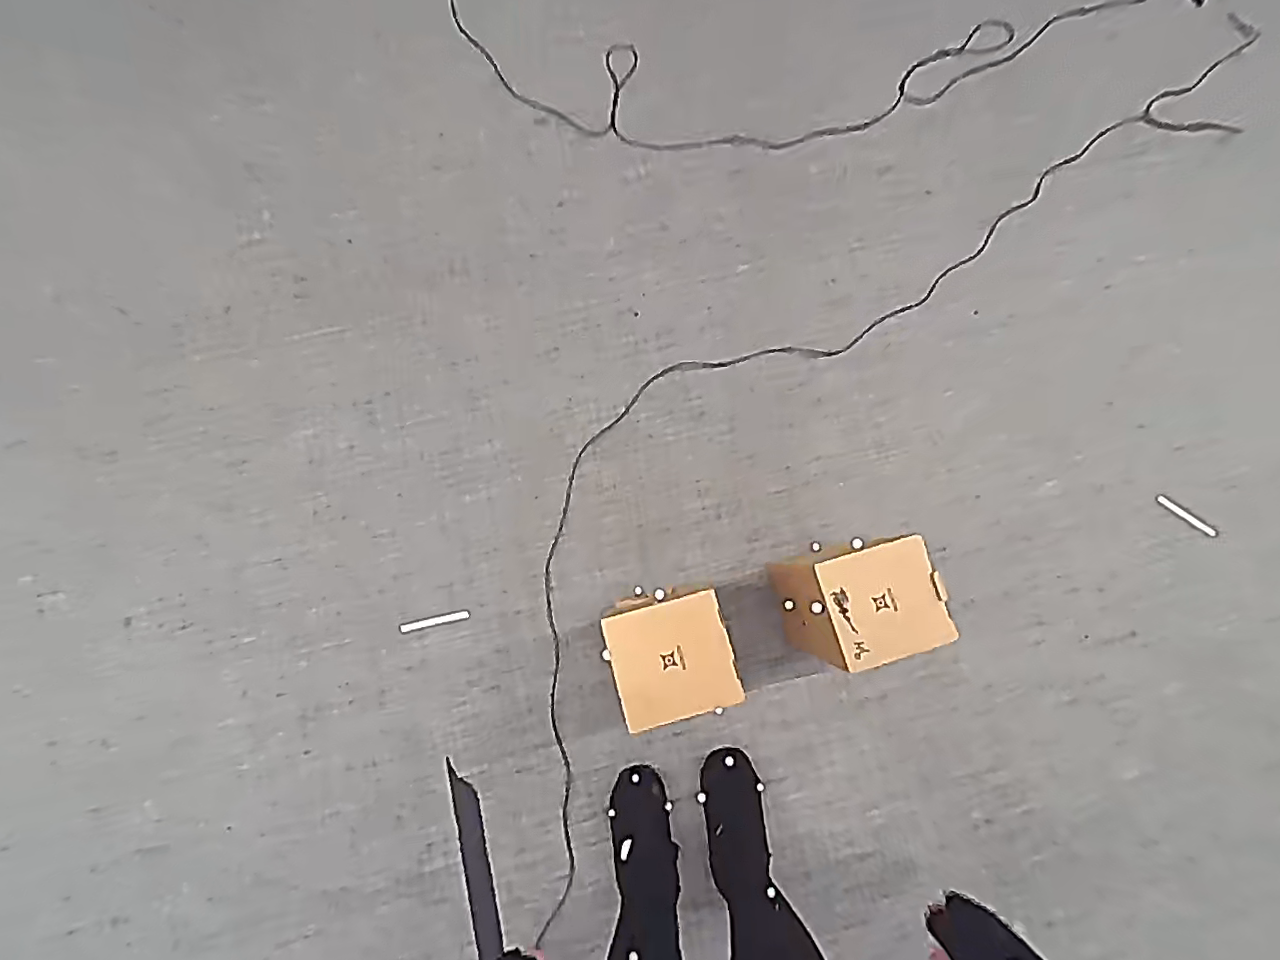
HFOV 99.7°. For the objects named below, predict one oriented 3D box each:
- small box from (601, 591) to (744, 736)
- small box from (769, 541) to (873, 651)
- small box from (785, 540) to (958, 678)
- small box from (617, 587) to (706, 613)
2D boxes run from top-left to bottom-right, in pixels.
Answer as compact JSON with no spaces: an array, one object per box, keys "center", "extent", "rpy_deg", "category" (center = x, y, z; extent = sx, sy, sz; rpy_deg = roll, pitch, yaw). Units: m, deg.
[{"center":[0.047,0.279,0.858],"extent":[0.179,0.176,0.168],"rpy_deg":[-15,81,-3],"category":"small box"},{"center":[0.363,0.226,1.036],"extent":[0.168,0.176,0.179],"rpy_deg":[-15,82,-3],"category":"small box"},{"center":[0.360,0.199,0.873],"extent":[0.179,0.176,0.168],"rpy_deg":[-15,81,-5],"category":"small box"},{"center":[0.052,0.302,1.018],"extent":[0.168,0.176,0.179],"rpy_deg":[-12,82,-2],"category":"small box"}]
